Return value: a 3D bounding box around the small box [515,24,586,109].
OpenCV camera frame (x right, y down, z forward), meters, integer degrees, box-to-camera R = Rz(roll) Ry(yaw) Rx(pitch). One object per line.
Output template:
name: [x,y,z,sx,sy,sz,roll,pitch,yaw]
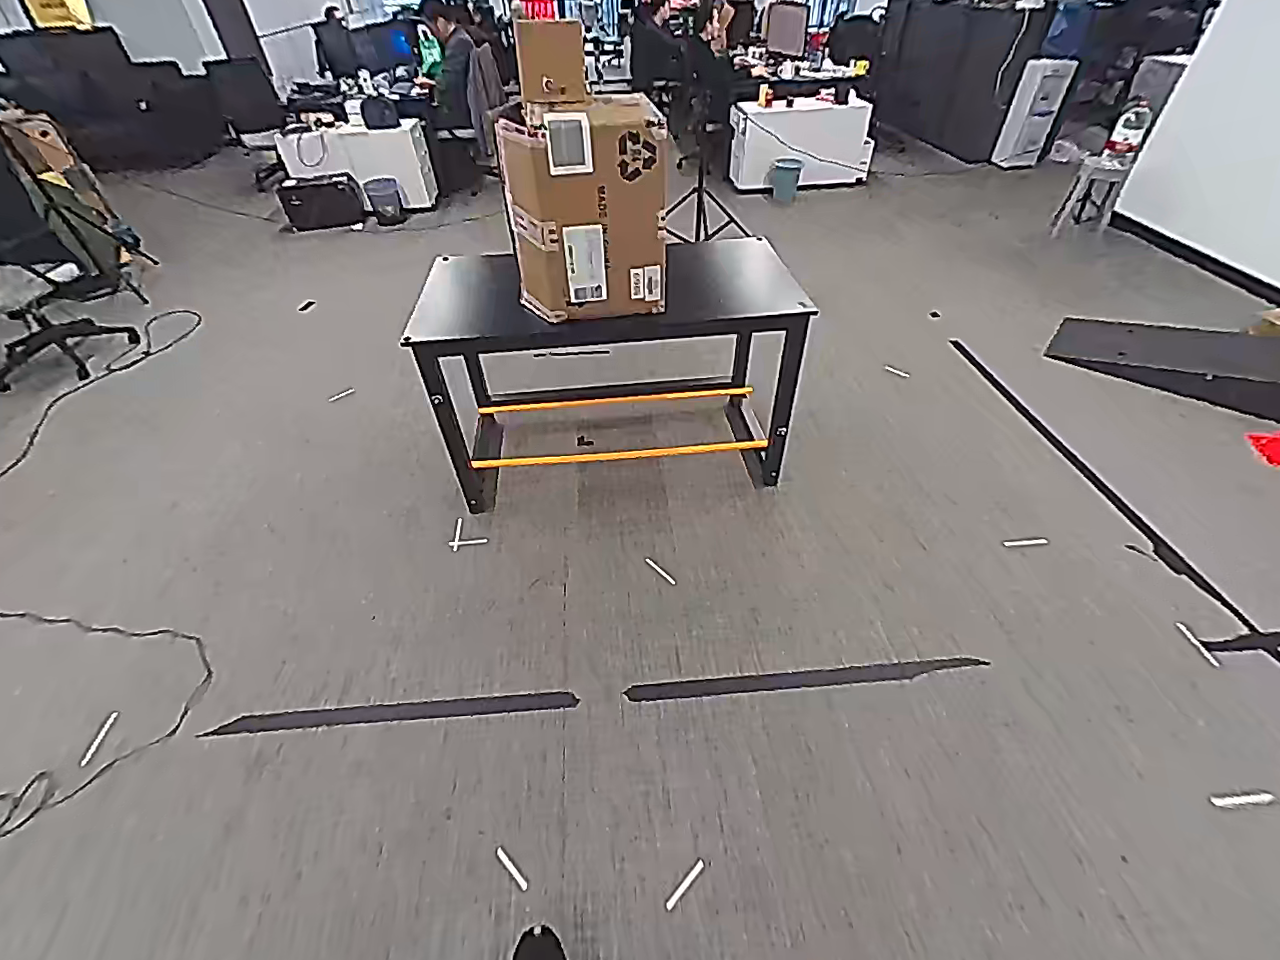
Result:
small box: [-0.236,-1.093,1.428,0.168,0.176,0.179,-8,42,-7]
